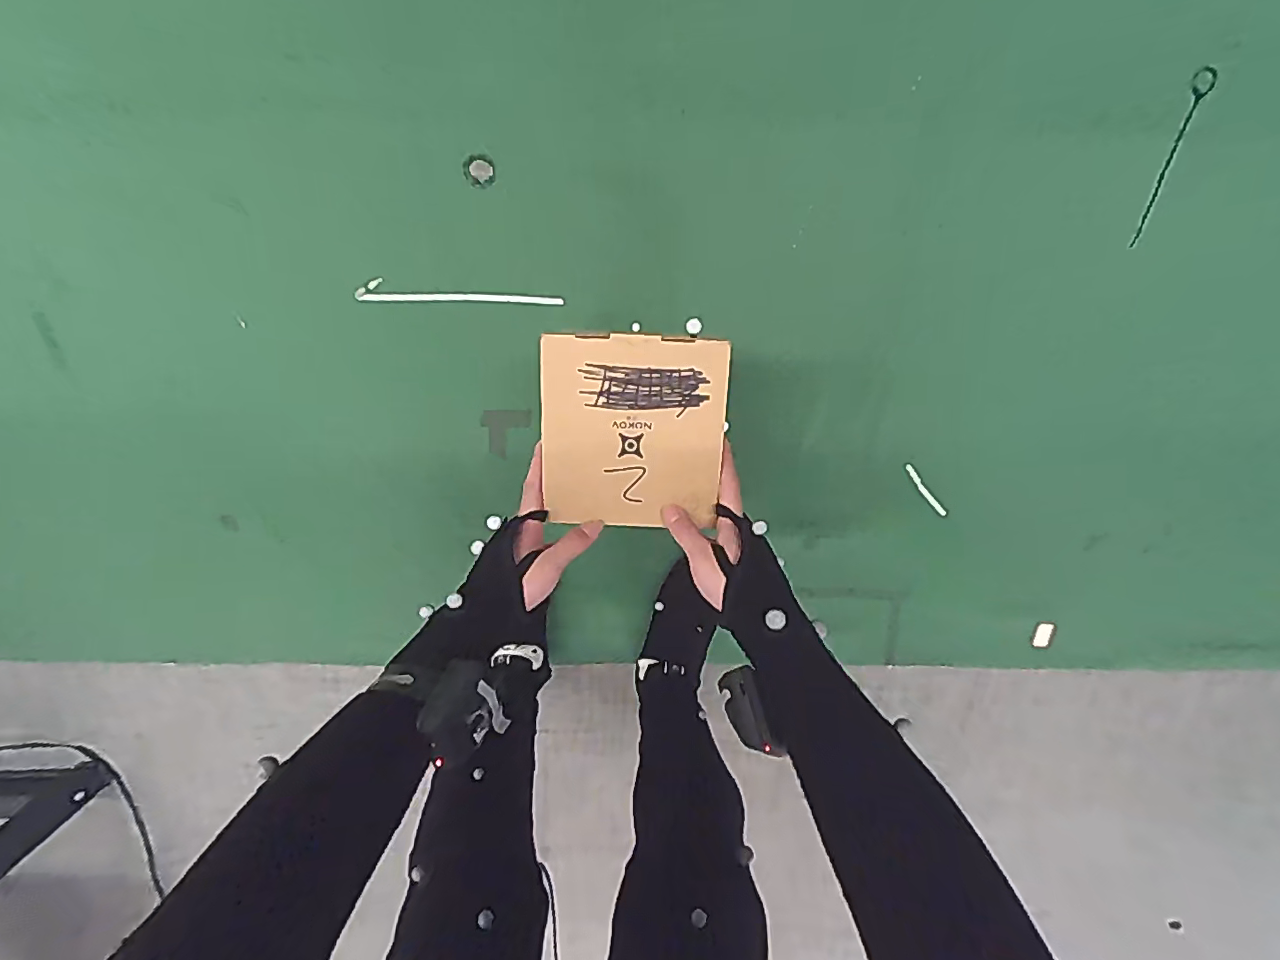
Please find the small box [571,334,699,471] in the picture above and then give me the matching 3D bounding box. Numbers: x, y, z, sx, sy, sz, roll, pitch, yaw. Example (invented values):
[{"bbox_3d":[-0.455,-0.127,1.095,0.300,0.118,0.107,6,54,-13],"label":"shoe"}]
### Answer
[{"bbox_3d":[-0.010,-0.120,0.790,0.168,0.176,0.179,2,106,0],"label":"small box"}]
